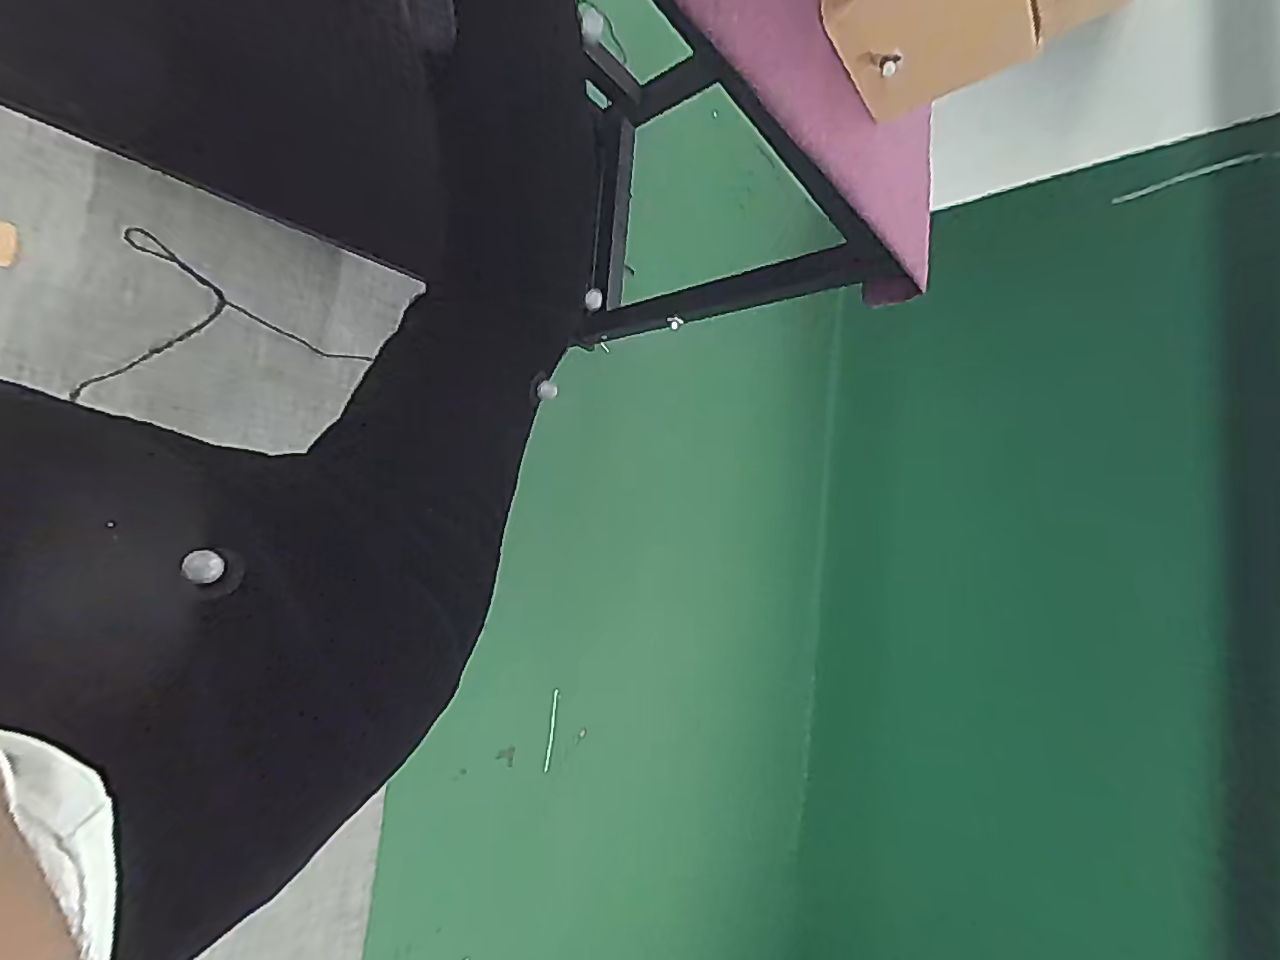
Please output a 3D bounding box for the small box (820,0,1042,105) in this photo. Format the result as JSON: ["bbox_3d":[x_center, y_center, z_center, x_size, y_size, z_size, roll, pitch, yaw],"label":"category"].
[{"bbox_3d":[0.299,-0.531,0.552,0.179,0.176,0.168,10,81,-48],"label":"small box"}]
